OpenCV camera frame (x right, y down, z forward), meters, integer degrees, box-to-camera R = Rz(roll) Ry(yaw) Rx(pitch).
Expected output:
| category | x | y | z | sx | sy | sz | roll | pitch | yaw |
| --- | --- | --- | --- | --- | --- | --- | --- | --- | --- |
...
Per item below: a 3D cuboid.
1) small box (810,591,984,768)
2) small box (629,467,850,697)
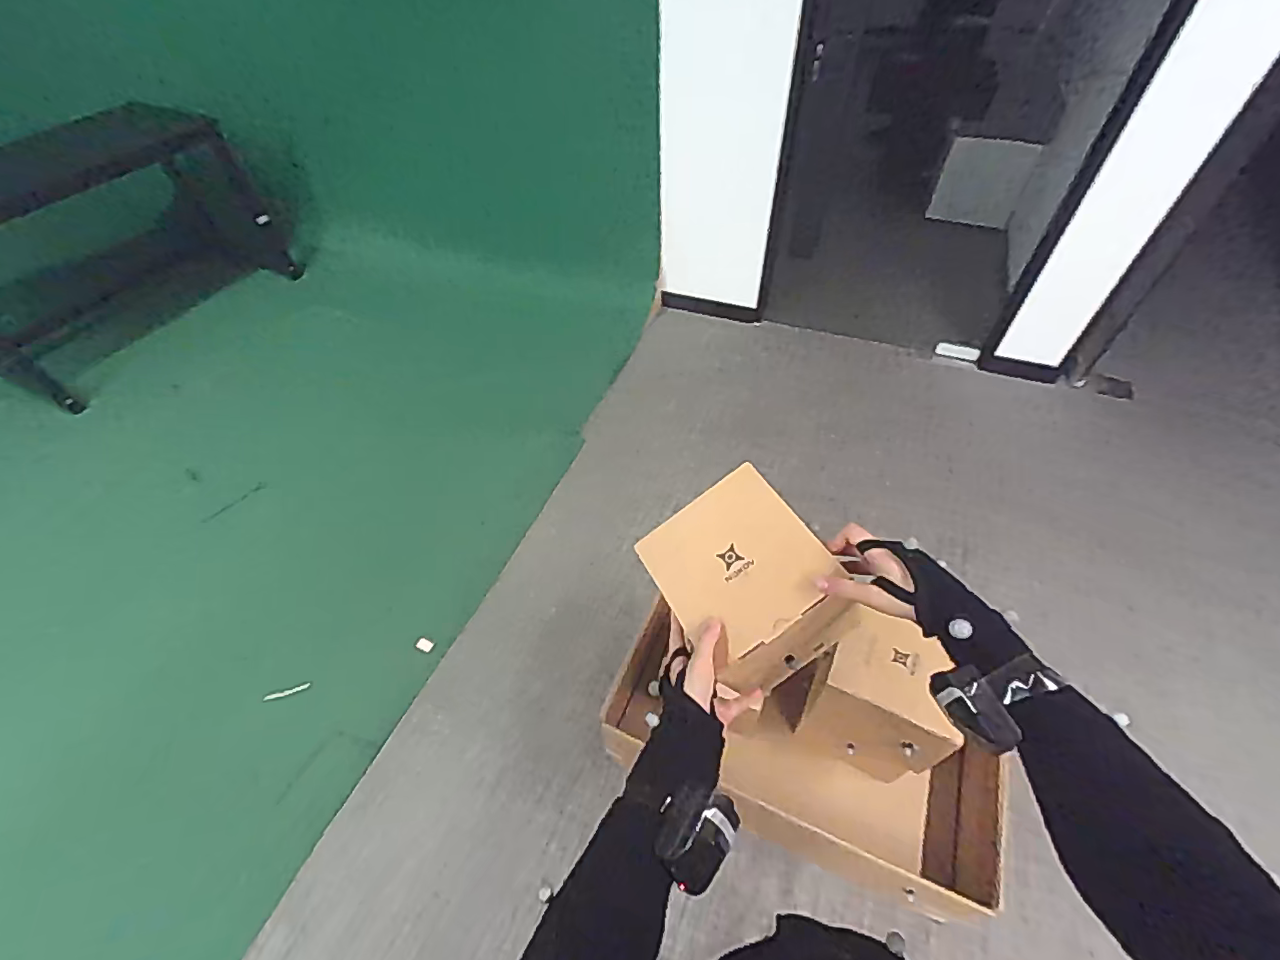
| category | x | y | z | sx | sy | sz | roll | pitch | yaw |
| --- | --- | --- | --- | --- | --- | --- | --- | --- | --- |
| small box | 0.374 | 0.302 | 0.807 | 0.179 | 0.176 | 0.168 | 20 | 55 | 21 |
| small box | 0.118 | 0.124 | 0.623 | 0.168 | 0.176 | 0.179 | -36 | 54 | 3 |
